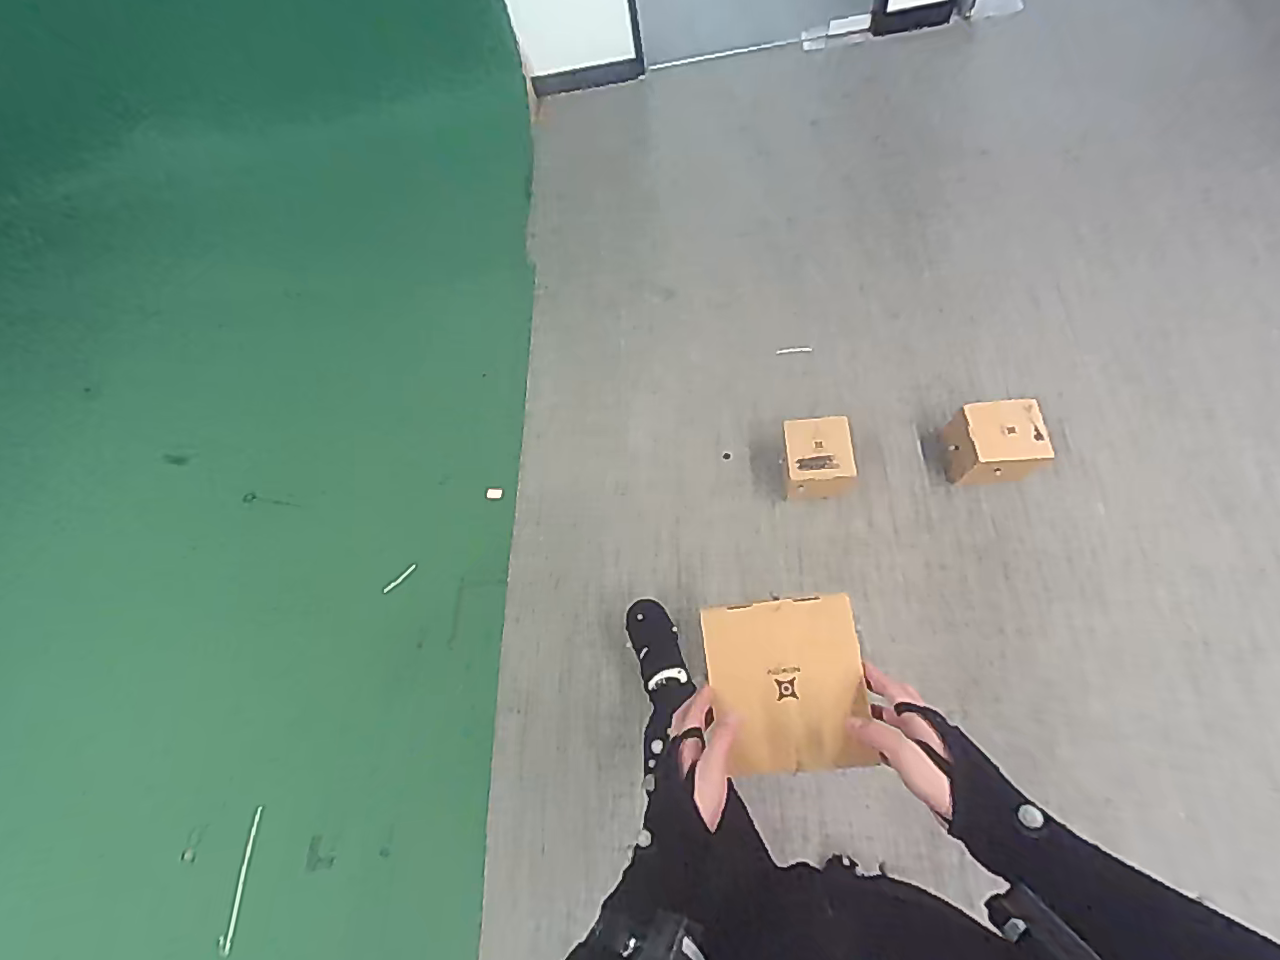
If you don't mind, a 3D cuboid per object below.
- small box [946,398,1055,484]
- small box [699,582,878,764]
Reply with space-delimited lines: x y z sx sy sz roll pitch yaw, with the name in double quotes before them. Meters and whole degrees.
"small box" 0.922 -0.096 1.406 0.179 0.176 0.168 -4 68 8
"small box" 0.167 0.220 0.651 0.168 0.176 0.179 -8 76 7
